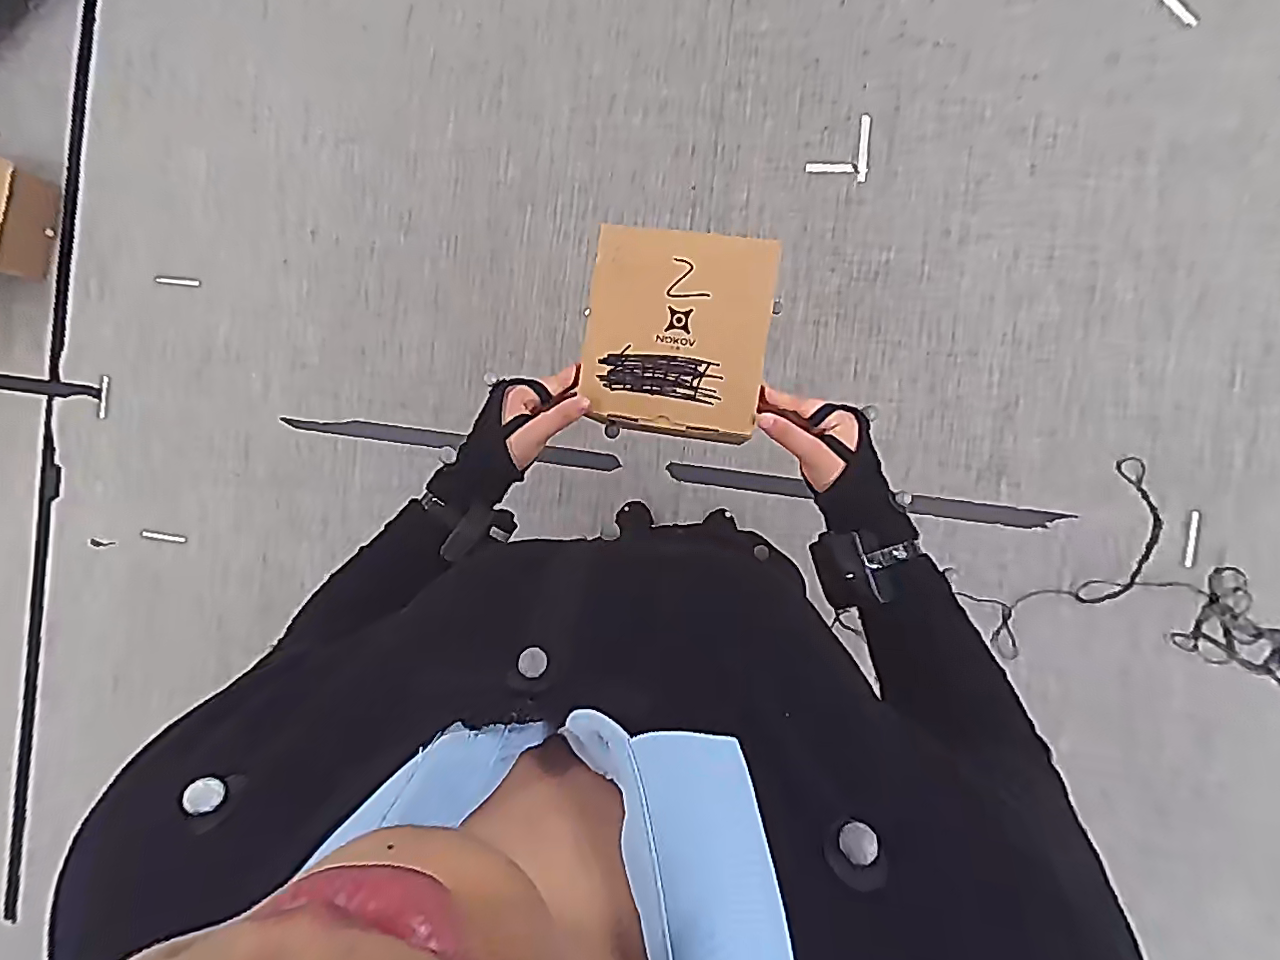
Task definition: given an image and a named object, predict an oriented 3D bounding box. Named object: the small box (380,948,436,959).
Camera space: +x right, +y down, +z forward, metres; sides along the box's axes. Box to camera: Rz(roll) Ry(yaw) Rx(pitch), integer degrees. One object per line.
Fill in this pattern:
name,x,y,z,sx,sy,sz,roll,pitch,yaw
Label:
small box,-0.323,0.789,0.727,0.179,0.176,0.168,9,91,7
